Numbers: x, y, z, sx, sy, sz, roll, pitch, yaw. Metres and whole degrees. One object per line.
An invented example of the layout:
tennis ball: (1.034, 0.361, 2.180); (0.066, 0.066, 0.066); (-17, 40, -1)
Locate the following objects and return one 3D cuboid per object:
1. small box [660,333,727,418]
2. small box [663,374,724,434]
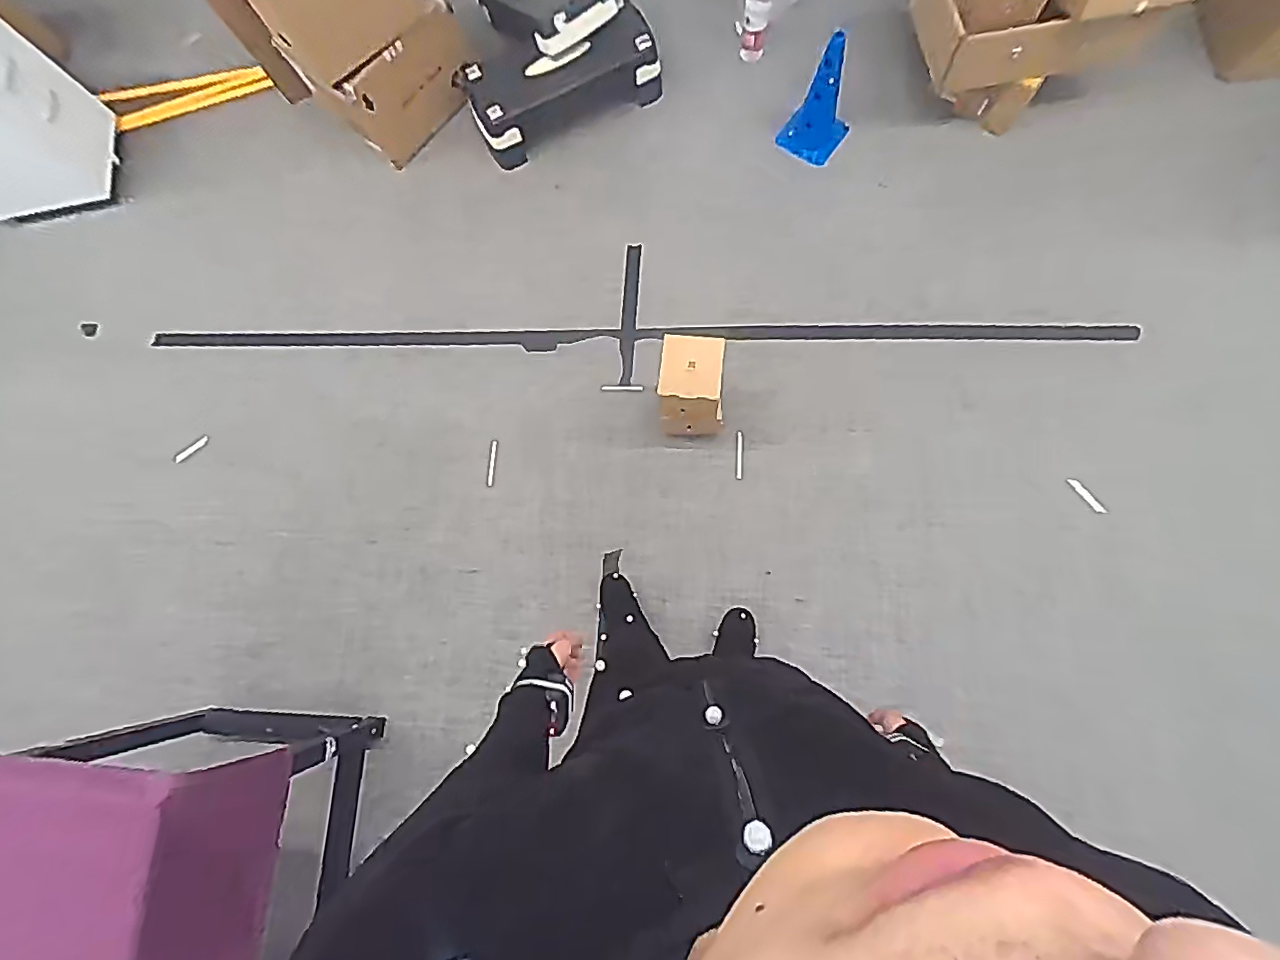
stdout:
small box: (0.148, -0.290, 1.518); (0.168, 0.176, 0.179); (6, 80, 6)
small box: (0.165, -0.245, 1.674); (0.179, 0.176, 0.168); (1, 78, 6)
